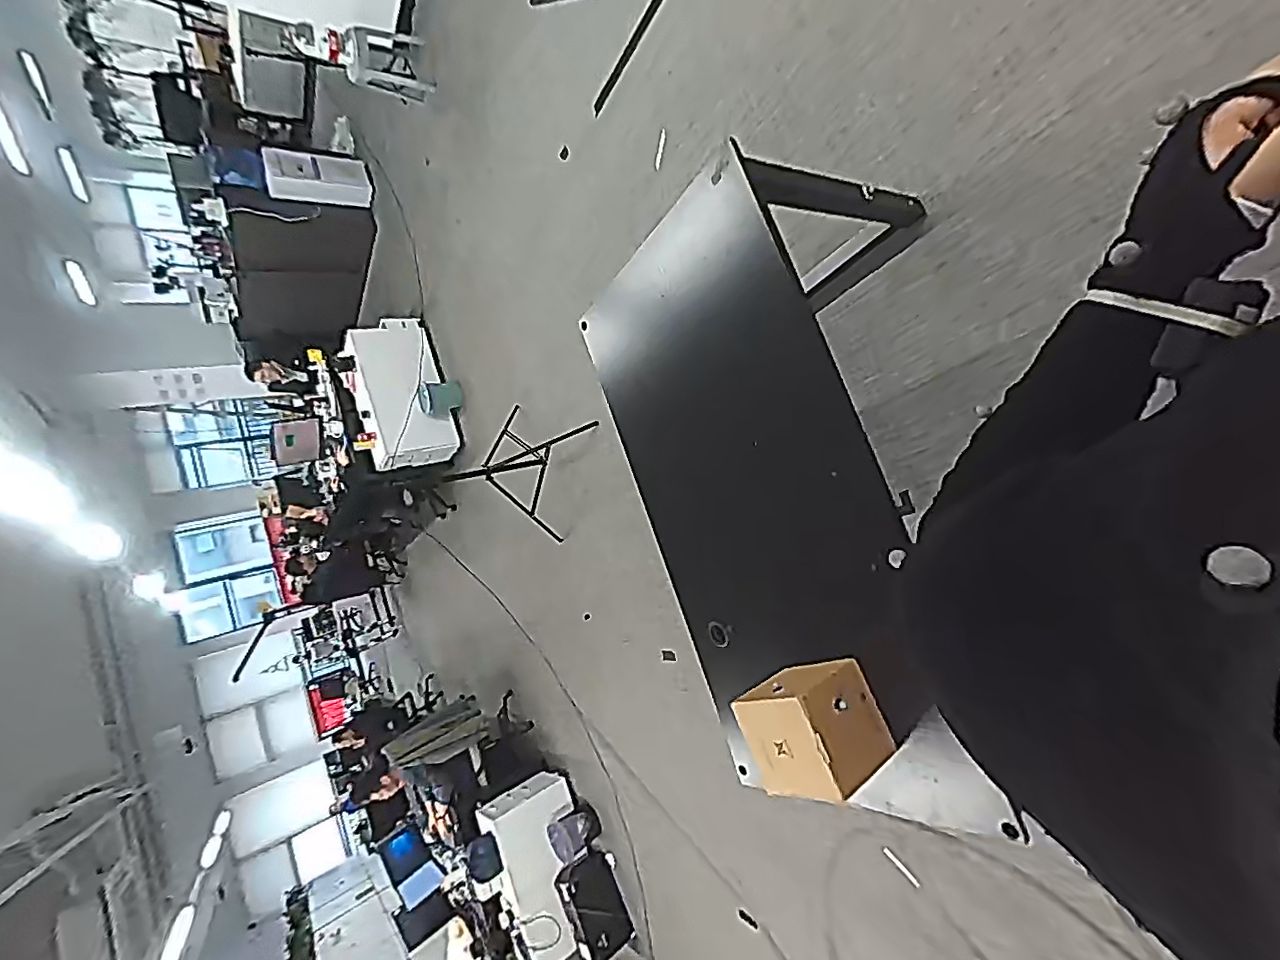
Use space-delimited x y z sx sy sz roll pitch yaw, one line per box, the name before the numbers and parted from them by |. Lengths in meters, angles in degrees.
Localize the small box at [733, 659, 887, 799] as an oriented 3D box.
small box | 0.304 0.431 0.954 0.179 0.176 0.168 -38 69 52
